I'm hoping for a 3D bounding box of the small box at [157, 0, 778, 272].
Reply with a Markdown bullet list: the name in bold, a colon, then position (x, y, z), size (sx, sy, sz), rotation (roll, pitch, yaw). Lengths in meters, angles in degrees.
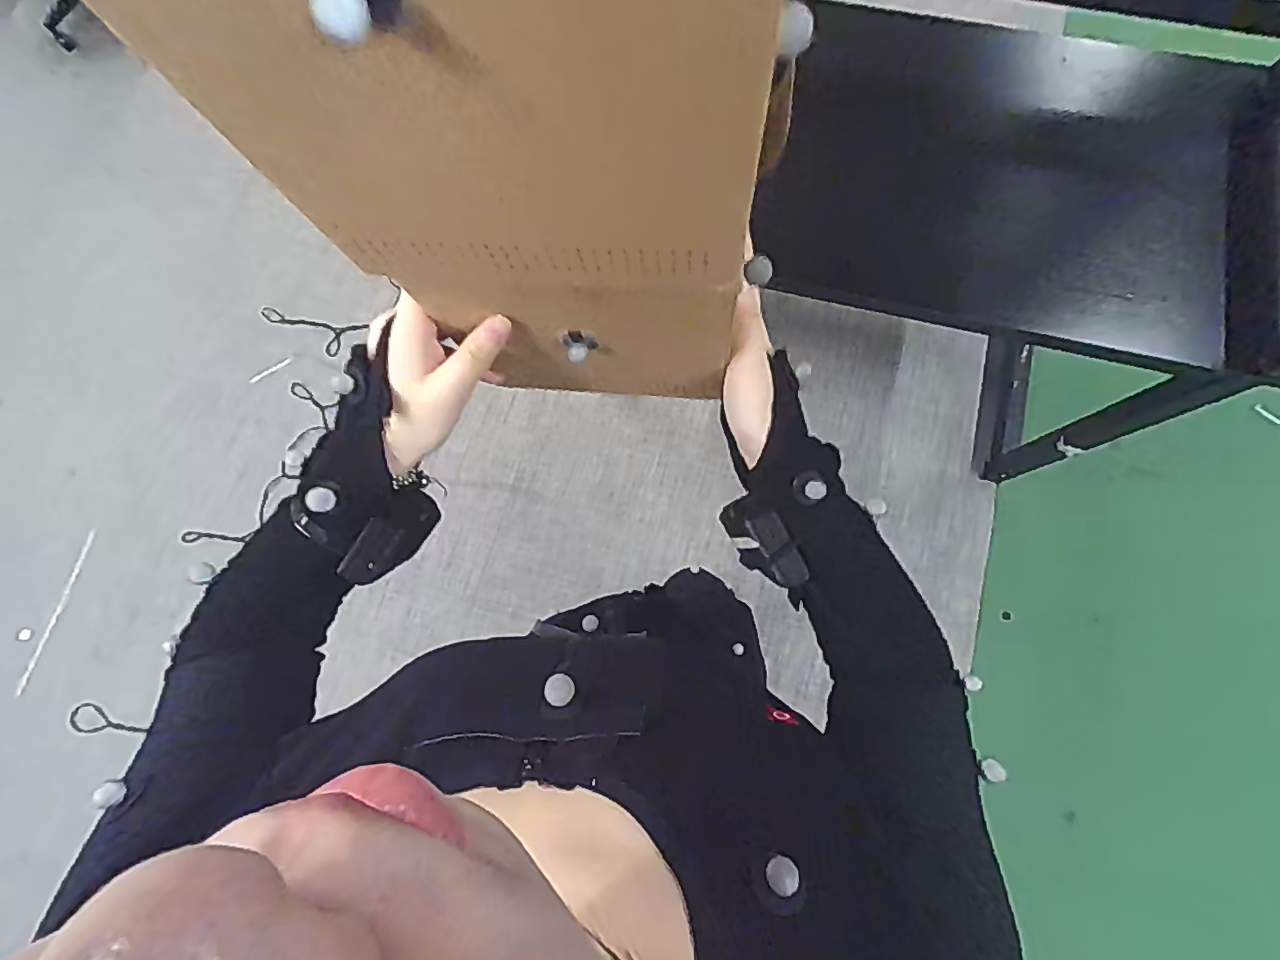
- **small box**: position (-0.041, -0.188, 0.177), size (0.179, 0.176, 0.168), rotation (5, 79, 6)
